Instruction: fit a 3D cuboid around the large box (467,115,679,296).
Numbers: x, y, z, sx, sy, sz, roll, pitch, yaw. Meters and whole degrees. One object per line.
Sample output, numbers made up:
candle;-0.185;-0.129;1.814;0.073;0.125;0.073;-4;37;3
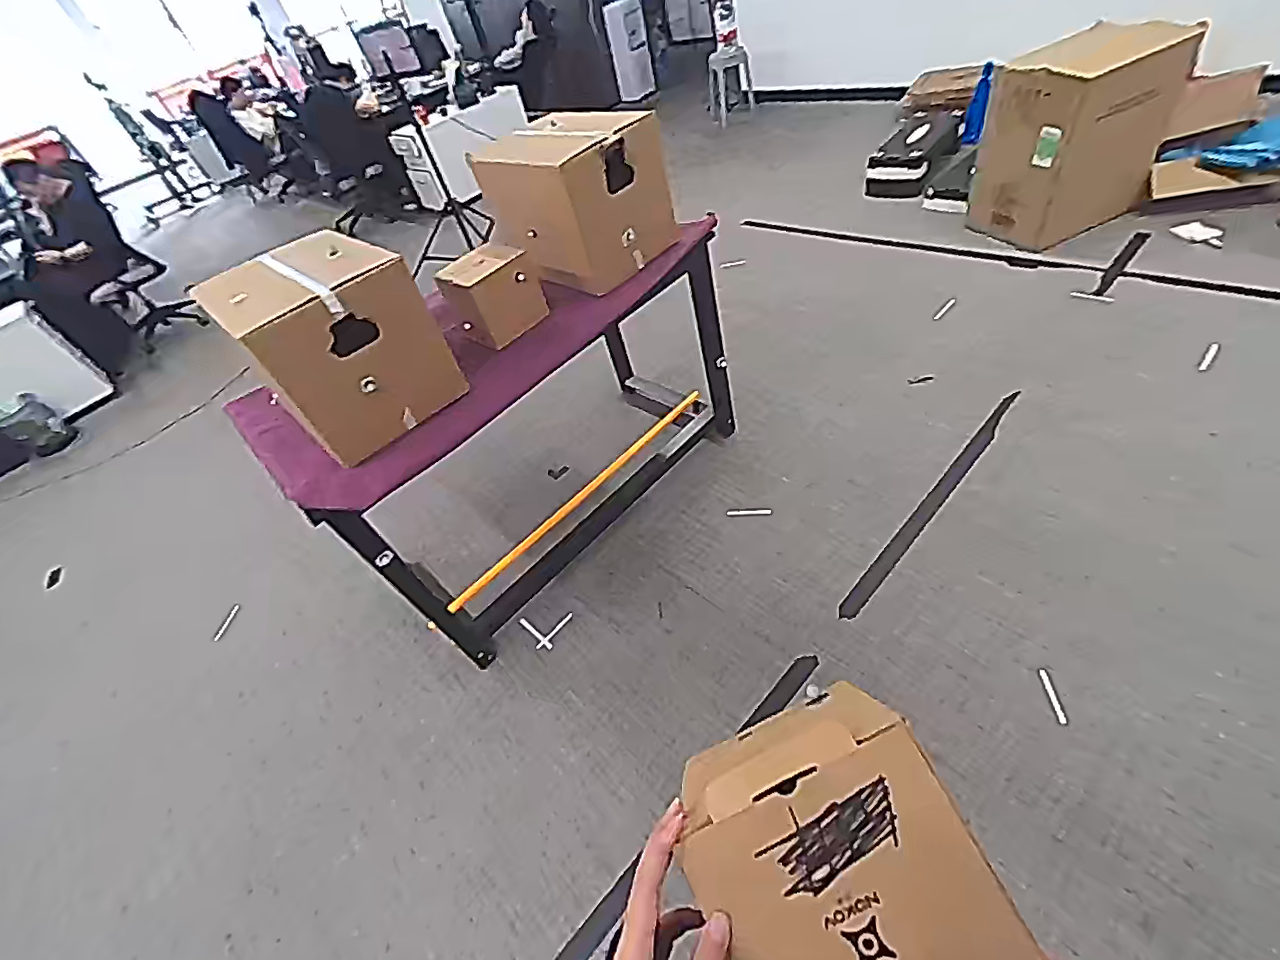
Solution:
large box;-0.165;-0.721;1.420;0.408;0.320;0.320;29;61;38
